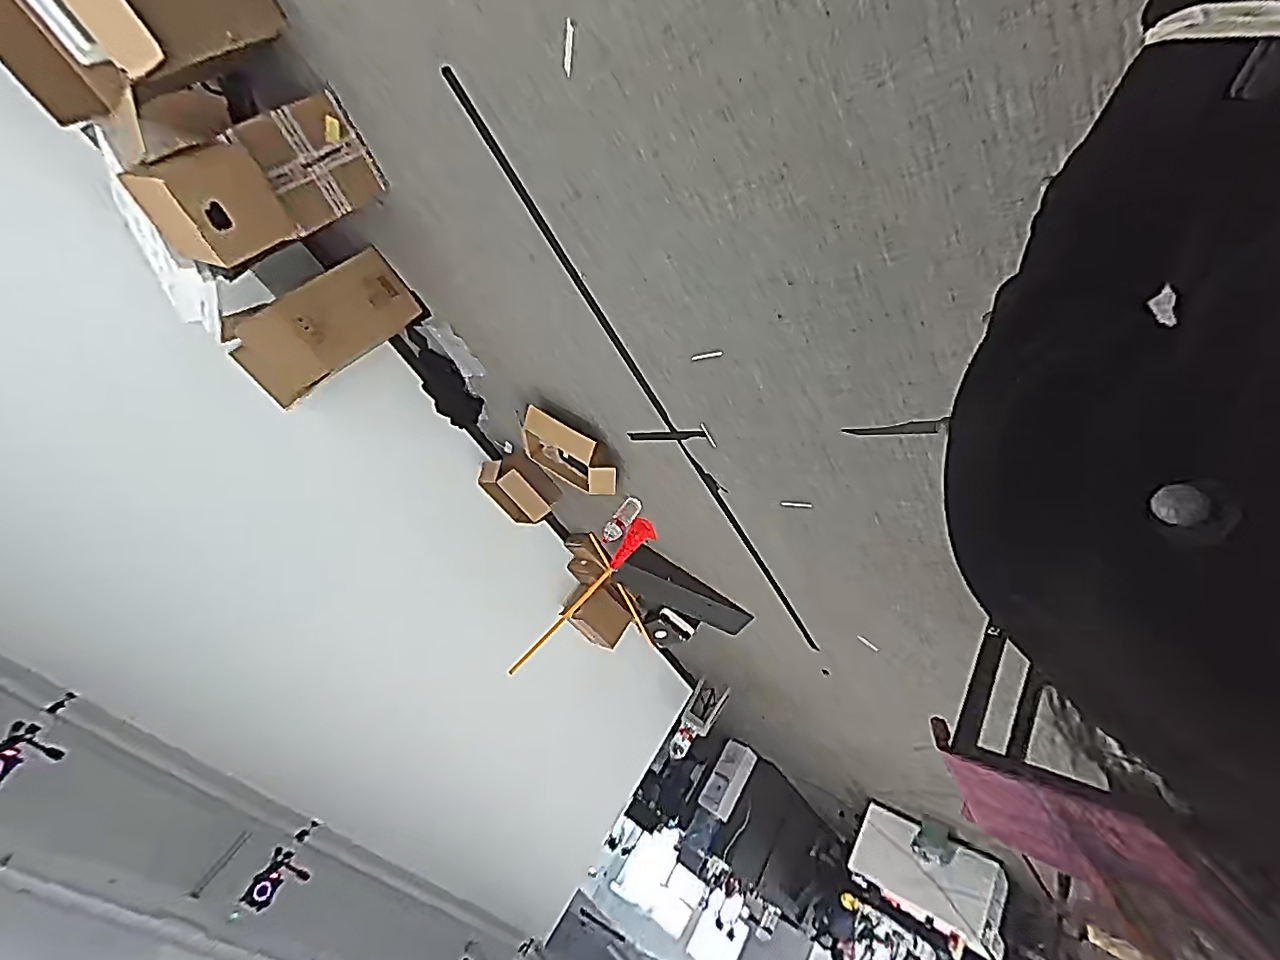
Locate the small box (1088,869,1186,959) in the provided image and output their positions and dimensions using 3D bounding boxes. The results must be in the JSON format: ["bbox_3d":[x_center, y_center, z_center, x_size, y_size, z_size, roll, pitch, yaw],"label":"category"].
[{"bbox_3d":[1.349,1.201,1.470,0.179,0.176,0.168,6,138,46],"label":"small box"}]
